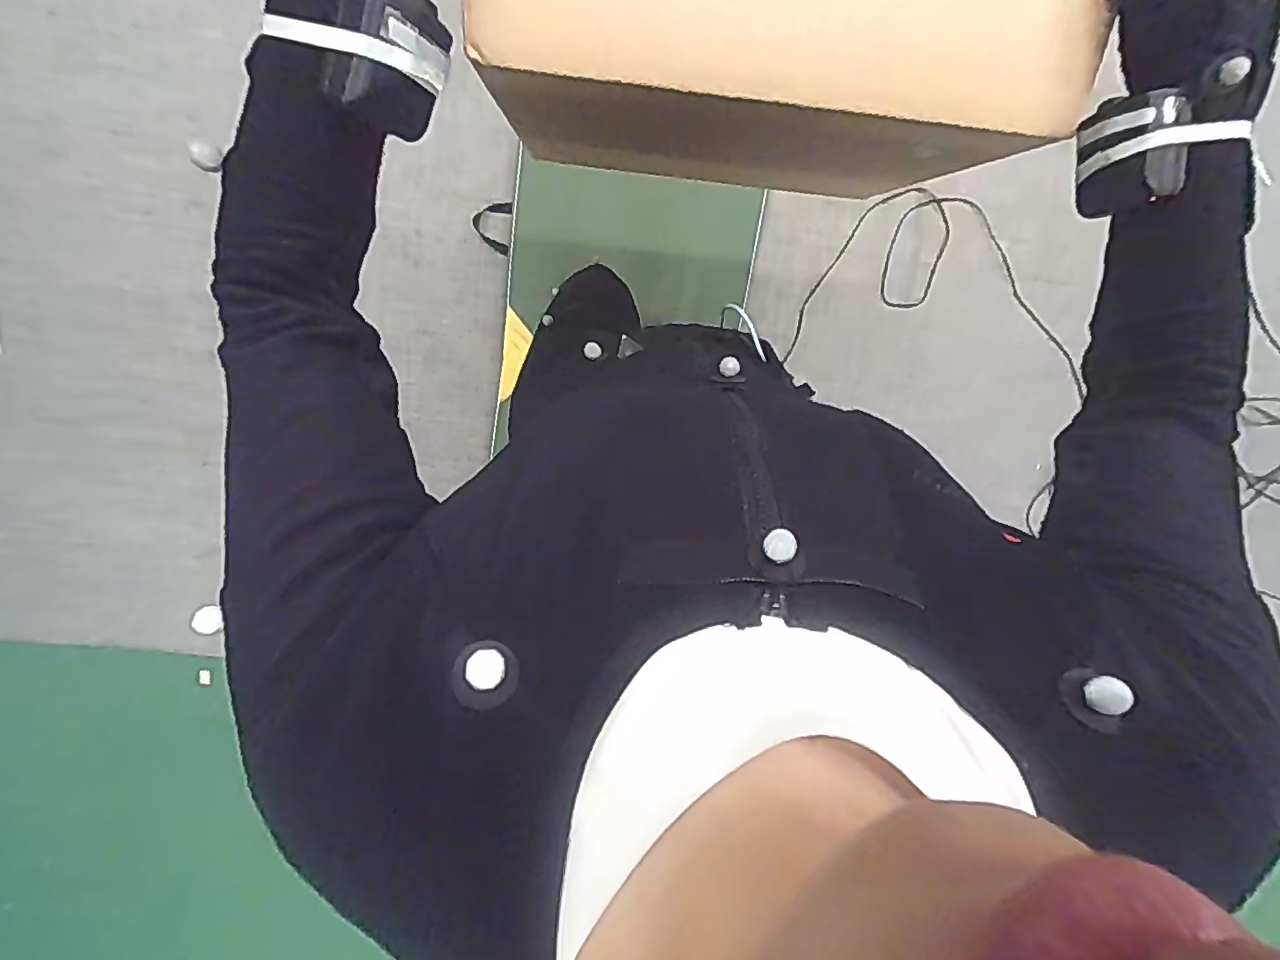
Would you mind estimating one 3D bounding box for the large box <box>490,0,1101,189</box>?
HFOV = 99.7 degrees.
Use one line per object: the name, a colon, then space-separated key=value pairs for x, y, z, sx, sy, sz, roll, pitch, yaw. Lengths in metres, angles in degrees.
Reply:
large box: x=0.099 y=-0.451 z=0.449 sx=0.408 sy=0.320 sz=0.320 roll=3 pitch=111 yaw=-6
